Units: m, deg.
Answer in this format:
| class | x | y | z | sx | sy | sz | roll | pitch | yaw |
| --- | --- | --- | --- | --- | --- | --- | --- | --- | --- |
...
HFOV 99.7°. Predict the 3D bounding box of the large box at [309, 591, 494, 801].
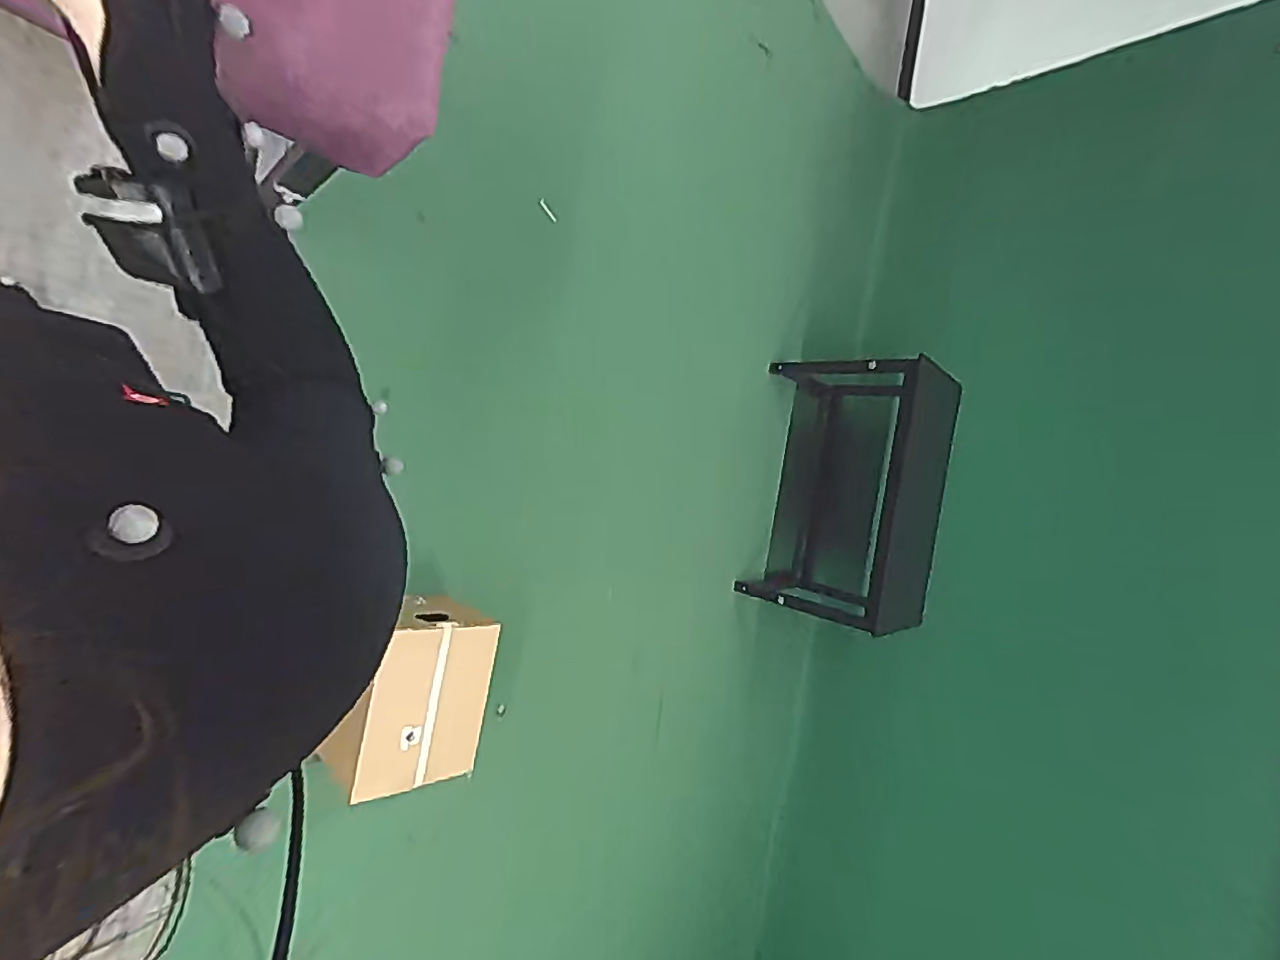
| class | x | y | z | sx | sy | sz | roll | pitch | yaw |
| --- | --- | --- | --- | --- | --- | --- | --- | --- | --- |
| large box | -0.632 | 0.533 | 1.432 | 0.320 | 0.320 | 0.408 | 12 | 89 | -46 |
